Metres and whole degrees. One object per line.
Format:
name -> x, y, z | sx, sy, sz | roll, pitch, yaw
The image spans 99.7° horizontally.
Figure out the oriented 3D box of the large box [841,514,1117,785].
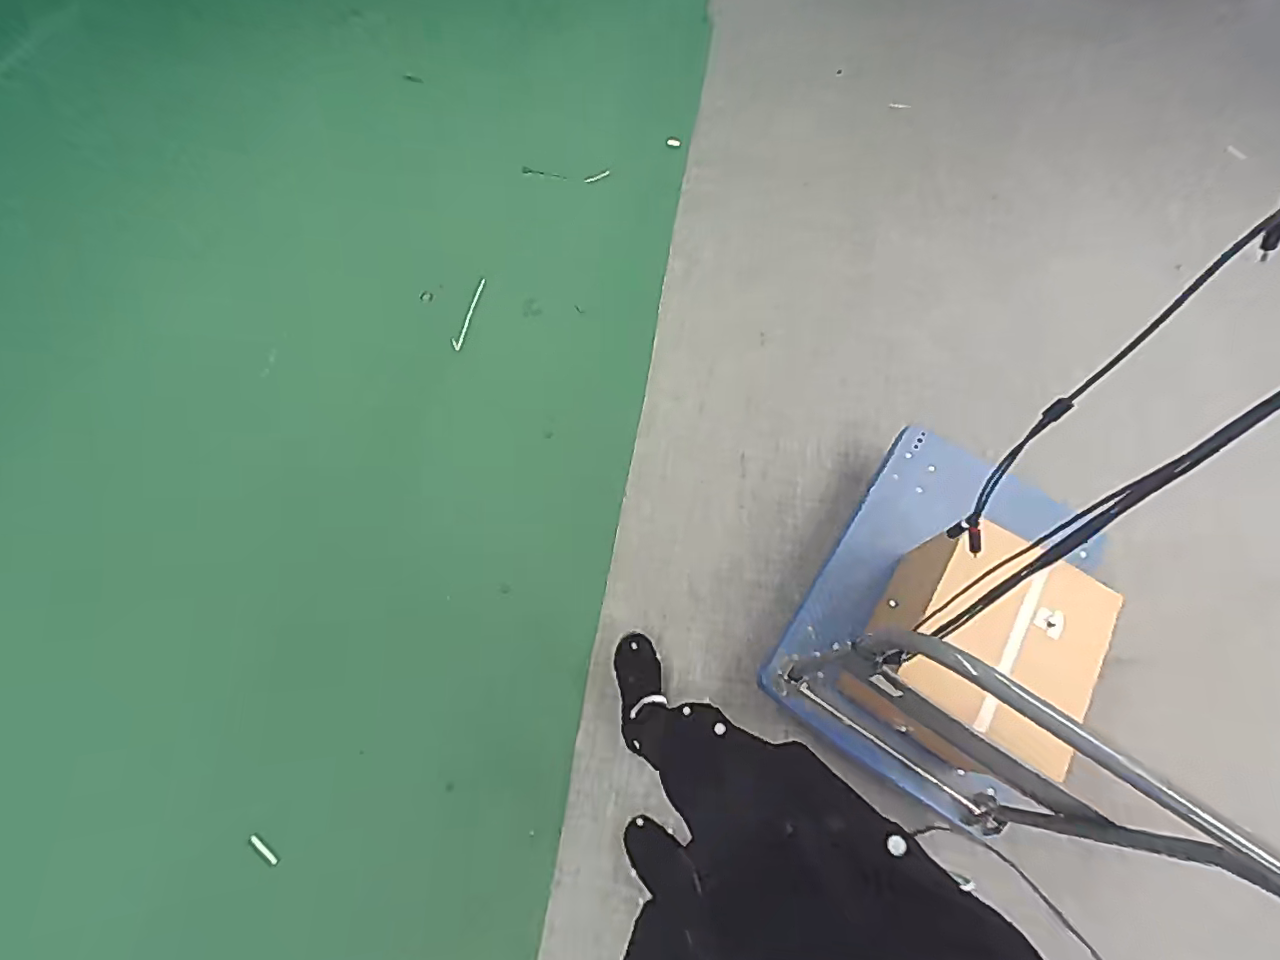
large box -> 0.695, 0.357, 1.154 | 0.320, 0.320, 0.408 | 33, 70, 12
